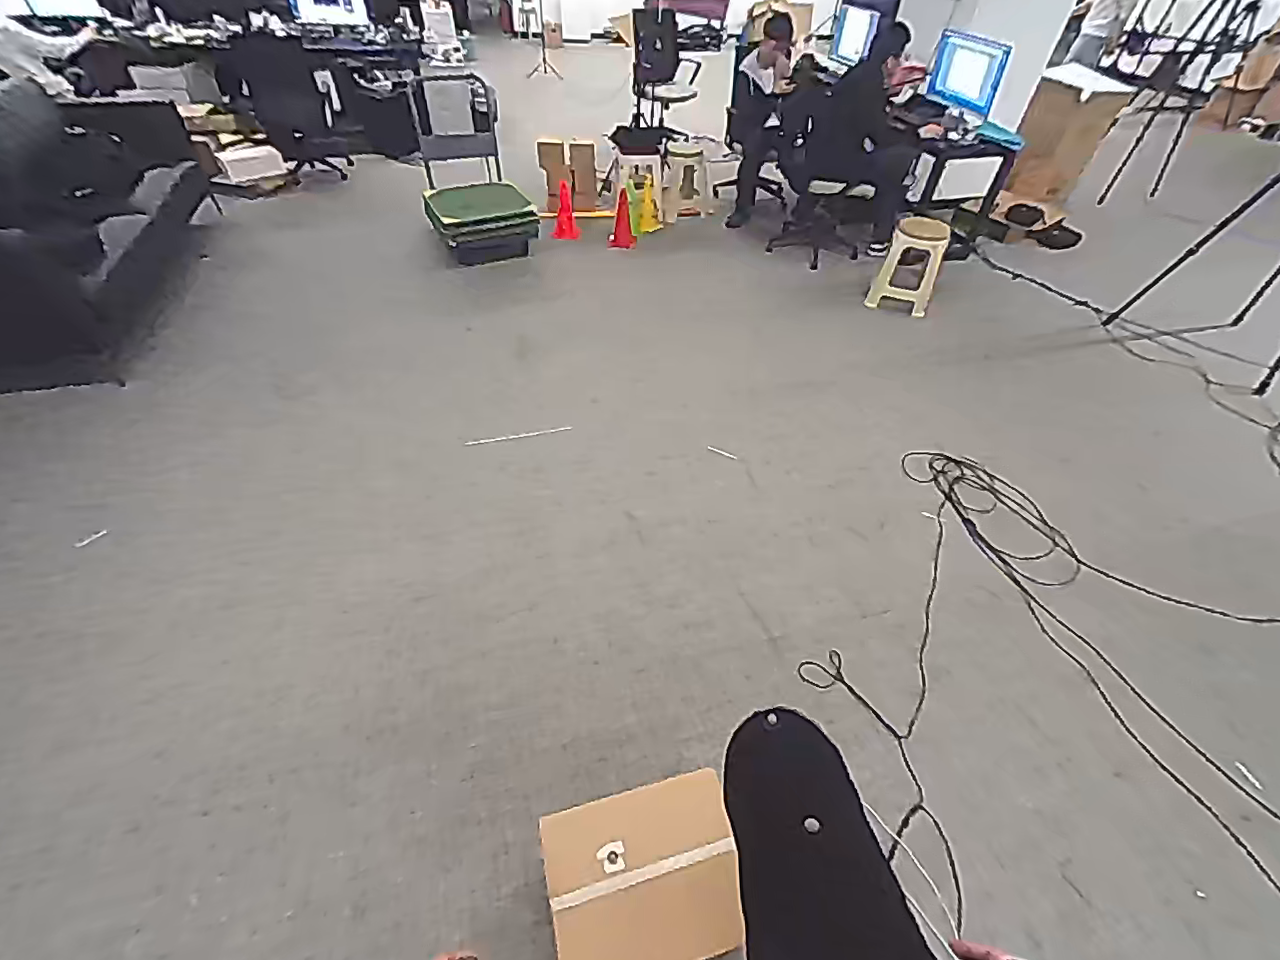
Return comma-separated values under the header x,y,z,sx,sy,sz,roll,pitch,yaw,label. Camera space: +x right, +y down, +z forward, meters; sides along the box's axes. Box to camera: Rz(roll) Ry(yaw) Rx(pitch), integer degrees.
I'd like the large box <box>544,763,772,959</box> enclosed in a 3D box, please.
x,y,z,sx,sy,sz,roll,pitch,yaw,label
0.025,0.898,1.213,0.408,0.320,0.320,-12,47,-12,large box
